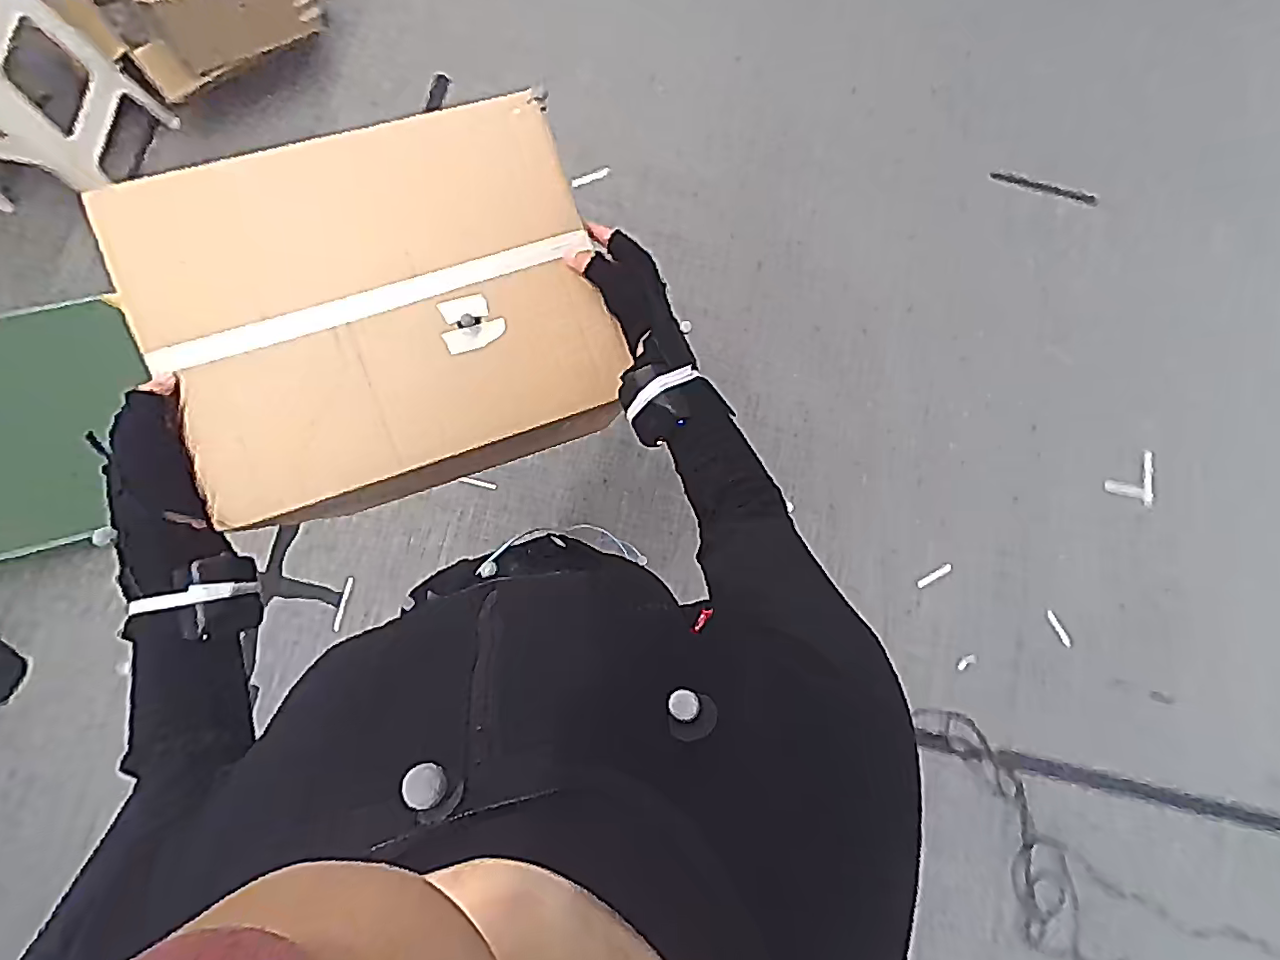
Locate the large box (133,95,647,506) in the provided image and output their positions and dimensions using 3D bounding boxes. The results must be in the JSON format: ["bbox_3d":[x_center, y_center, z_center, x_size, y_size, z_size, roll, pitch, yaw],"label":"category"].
[{"bbox_3d":[-0.249,-0.178,0.665,0.408,0.320,0.320,-18,93,-10],"label":"large box"}]
